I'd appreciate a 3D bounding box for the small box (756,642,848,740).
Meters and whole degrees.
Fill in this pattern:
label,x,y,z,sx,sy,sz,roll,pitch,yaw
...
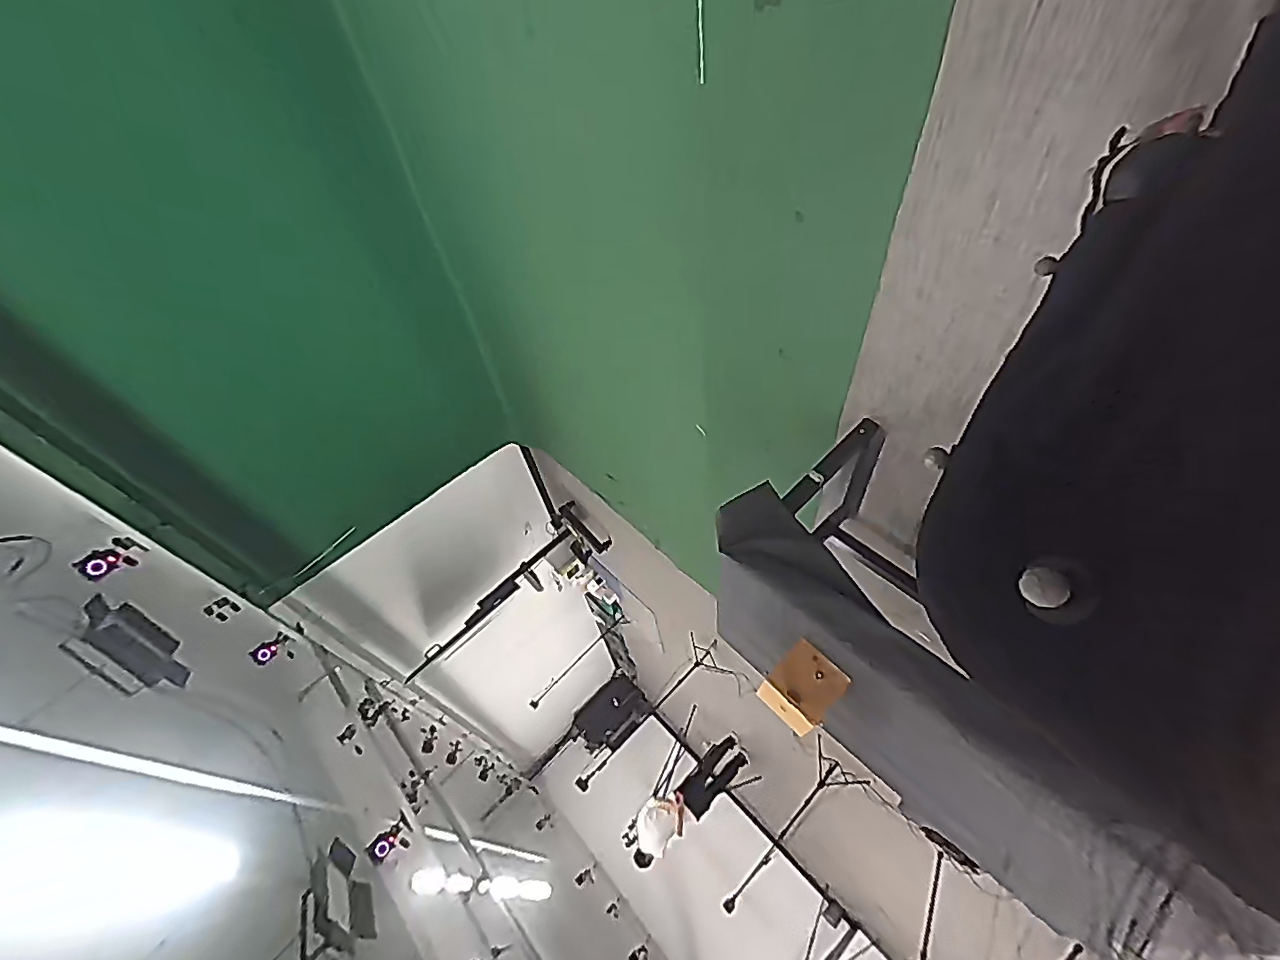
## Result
label,x,y,z,sx,sy,sz,roll,pitch,yaw
small box,0.447,0.583,1.498,0.168,0.176,0.179,41,156,25
